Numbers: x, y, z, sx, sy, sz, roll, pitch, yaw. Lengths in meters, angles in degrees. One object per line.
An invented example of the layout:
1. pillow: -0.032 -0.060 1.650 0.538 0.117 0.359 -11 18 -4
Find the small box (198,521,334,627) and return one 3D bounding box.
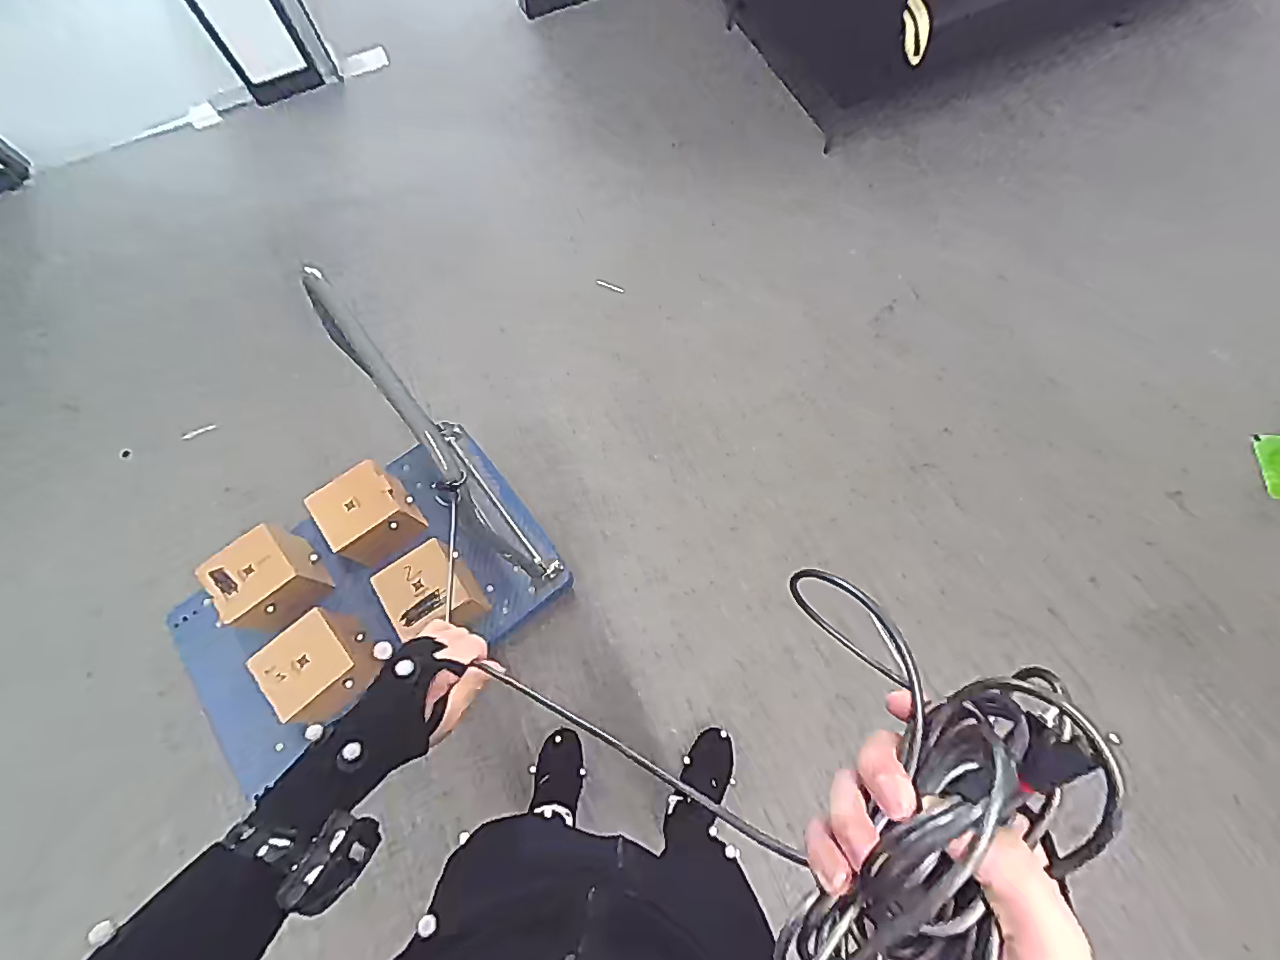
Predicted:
1. small box: -0.881 0.232 1.288 0.179 0.176 0.168 -38 74 -13

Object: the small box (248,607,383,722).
1. small box: -0.713 0.413 1.216 0.179 0.176 0.168 -40 73 -12

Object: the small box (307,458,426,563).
1. small box: -0.668 0.084 1.339 0.179 0.176 0.168 -36 72 -11
